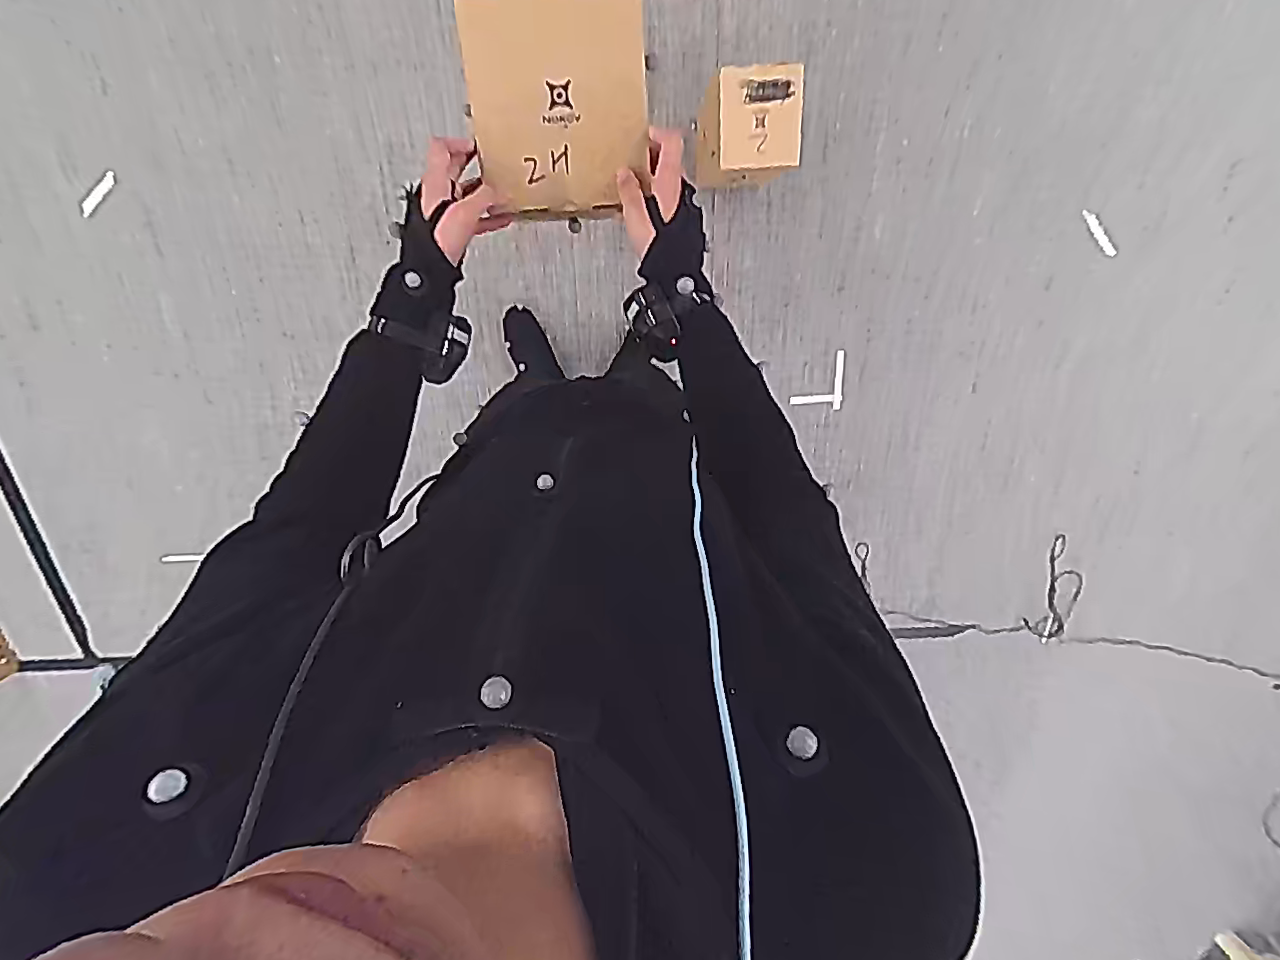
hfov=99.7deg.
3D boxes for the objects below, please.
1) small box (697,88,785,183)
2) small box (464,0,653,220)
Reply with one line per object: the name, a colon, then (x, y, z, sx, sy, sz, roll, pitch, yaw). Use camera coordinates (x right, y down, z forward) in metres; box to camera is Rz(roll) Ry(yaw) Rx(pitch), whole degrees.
small box: (0.232, -0.815, 1.294, 0.179, 0.176, 0.168, -4, 112, -3)
small box: (-0.076, -0.383, 0.579, 0.168, 0.176, 0.179, -4, 113, -2)
